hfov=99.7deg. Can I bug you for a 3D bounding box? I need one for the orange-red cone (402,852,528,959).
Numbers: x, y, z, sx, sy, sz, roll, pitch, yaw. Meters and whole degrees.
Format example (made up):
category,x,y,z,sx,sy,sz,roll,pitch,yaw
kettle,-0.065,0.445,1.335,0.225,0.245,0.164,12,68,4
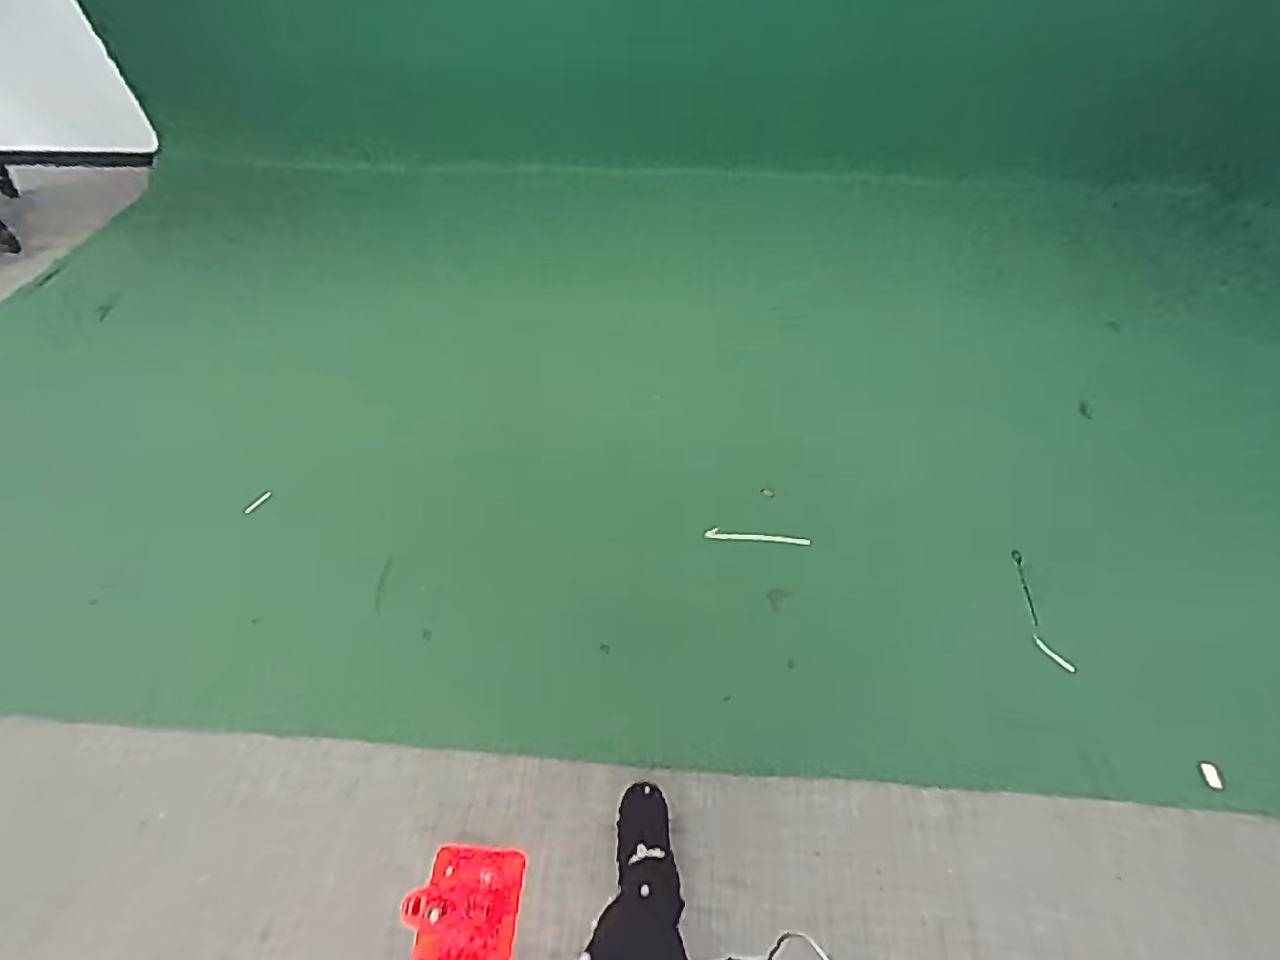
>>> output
category,x,y,z,sx,sy,sz,roll,pitch,yaw
orange-red cone,-0.348,0.797,0.988,0.198,0.360,0.199,2,53,4
